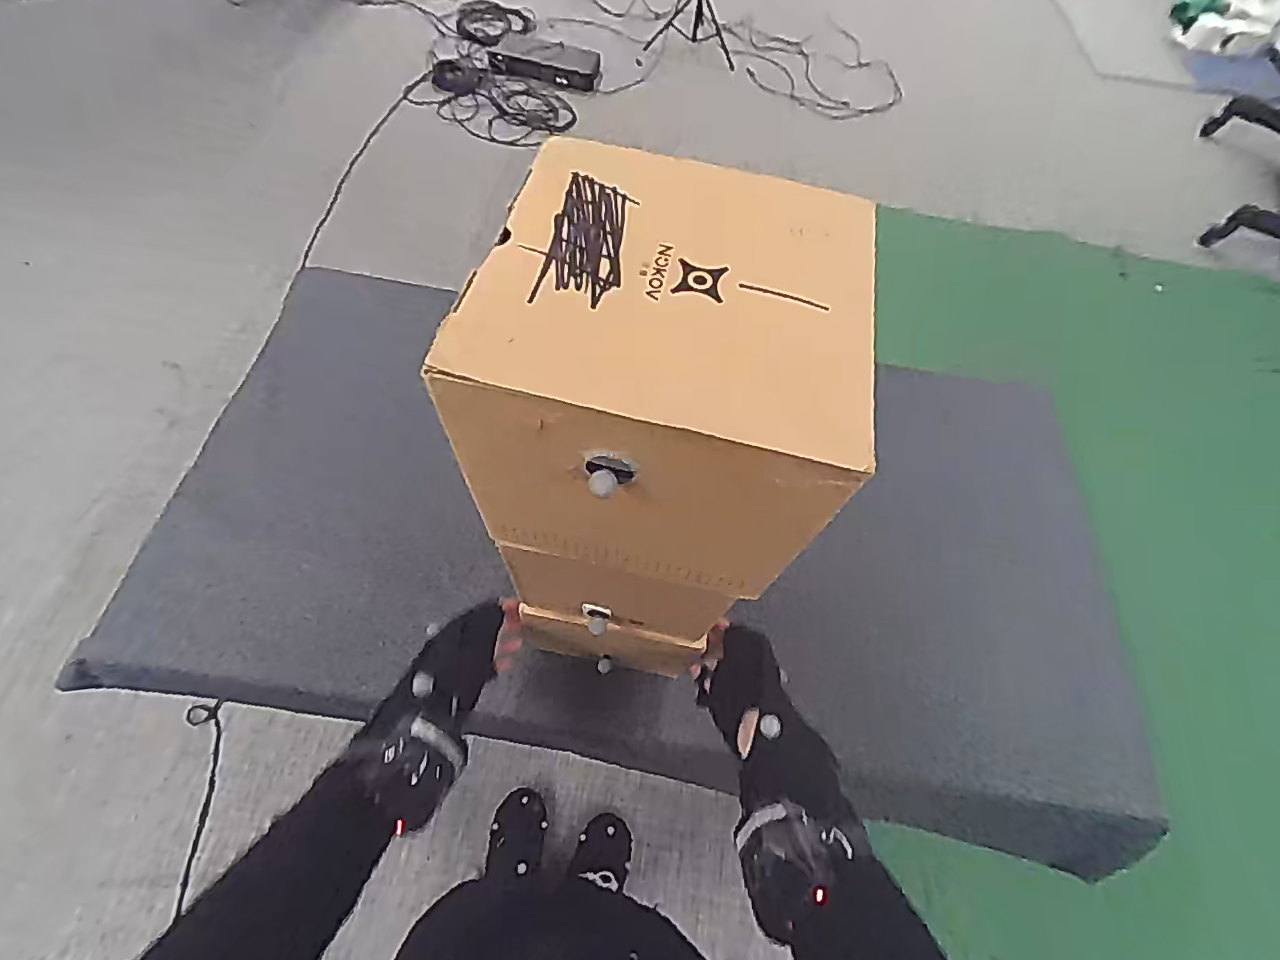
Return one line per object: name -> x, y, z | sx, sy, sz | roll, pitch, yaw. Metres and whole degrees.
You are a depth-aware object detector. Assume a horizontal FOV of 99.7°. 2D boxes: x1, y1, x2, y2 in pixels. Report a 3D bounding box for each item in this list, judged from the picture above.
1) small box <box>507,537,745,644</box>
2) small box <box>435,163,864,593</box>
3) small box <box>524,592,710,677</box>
small box -> -0.003, 0.026, 0.468 | 0.168, 0.176, 0.179 | 10, 62, 1
small box -> 0.012, -0.047, 0.321 | 0.179, 0.176, 0.168 | 13, 61, 2
small box -> -0.017, 0.113, 0.604 | 0.179, 0.176, 0.168 | 12, 60, 0
